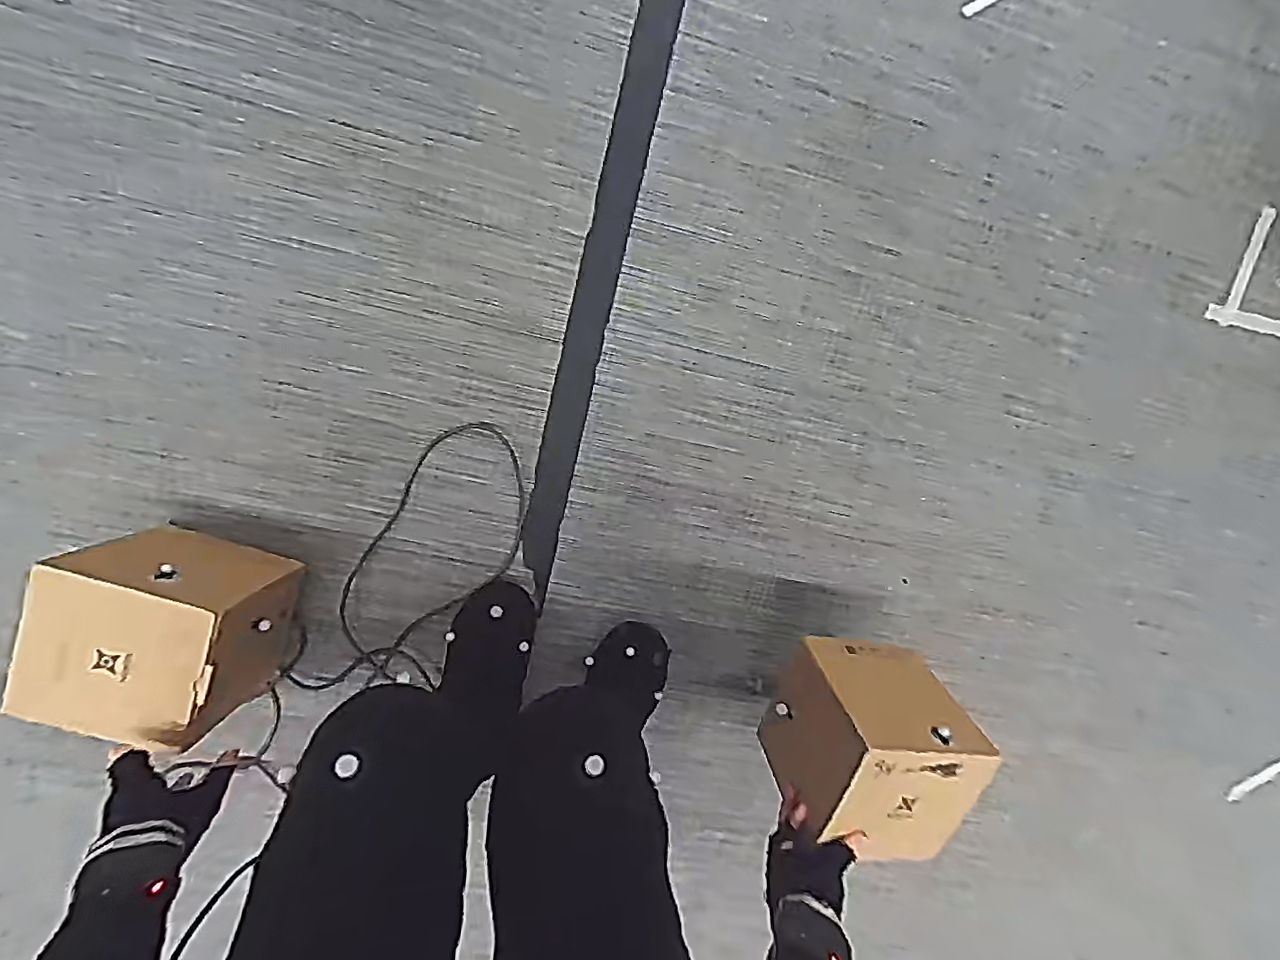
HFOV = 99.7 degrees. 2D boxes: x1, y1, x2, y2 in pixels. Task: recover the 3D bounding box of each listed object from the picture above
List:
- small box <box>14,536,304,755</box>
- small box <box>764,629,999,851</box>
[{"bbox_3d":[-0.531,0.176,0.624,0.179,0.176,0.168,17,96,-6],"label":"small box"},{"bbox_3d":[0.269,0.309,0.651,0.168,0.176,0.179,9,113,-14],"label":"small box"}]
